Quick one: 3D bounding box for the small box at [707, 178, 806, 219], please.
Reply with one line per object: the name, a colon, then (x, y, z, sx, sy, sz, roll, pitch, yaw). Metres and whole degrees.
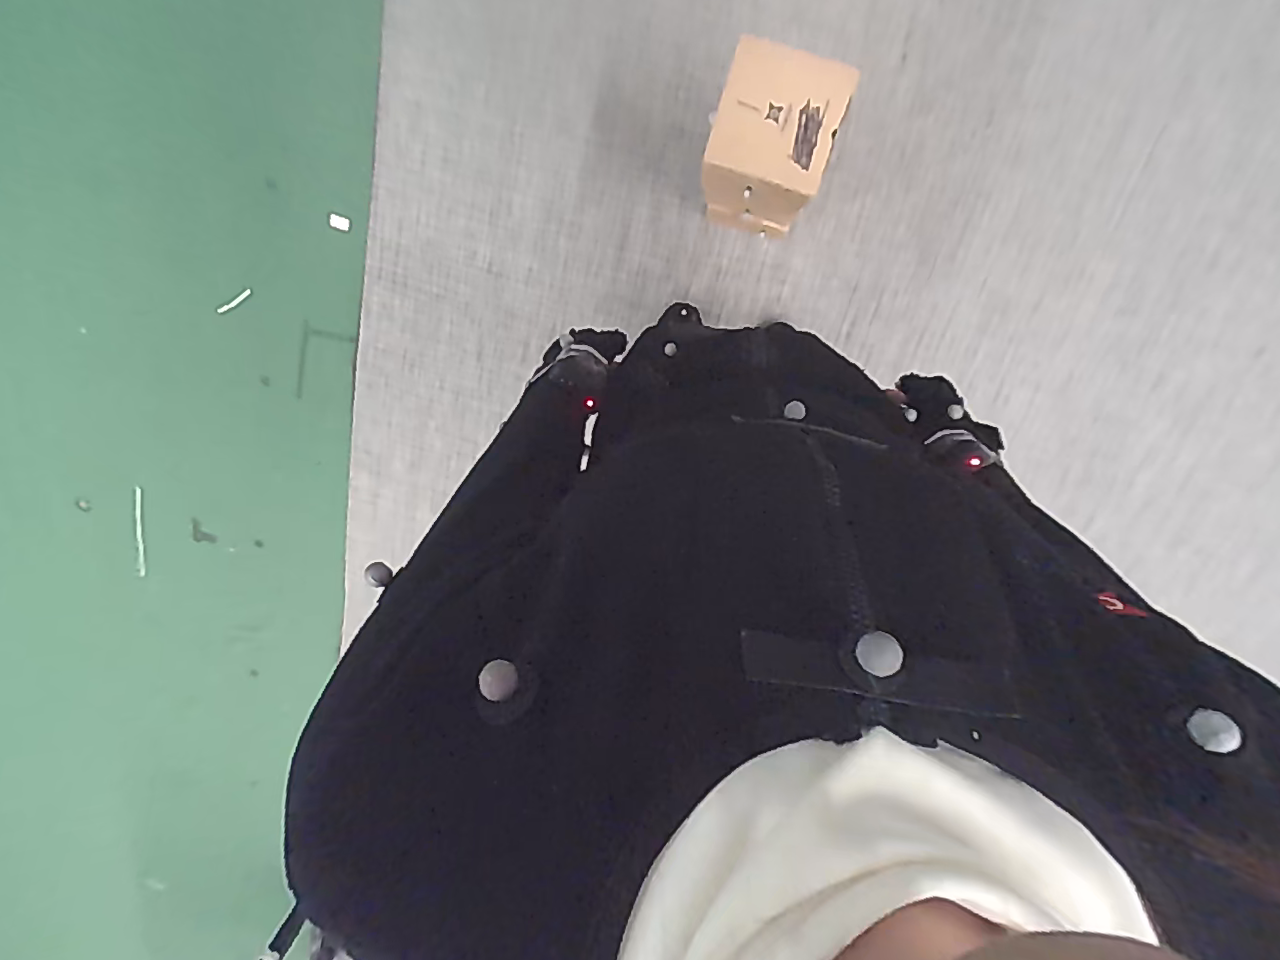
small box: (0.232, -0.596, 0.995, 0.179, 0.176, 0.168, 19, 109, 0)

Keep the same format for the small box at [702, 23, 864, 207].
small box: (0.207, -0.544, 0.838, 0.179, 0.176, 0.168, 22, 107, -1)
